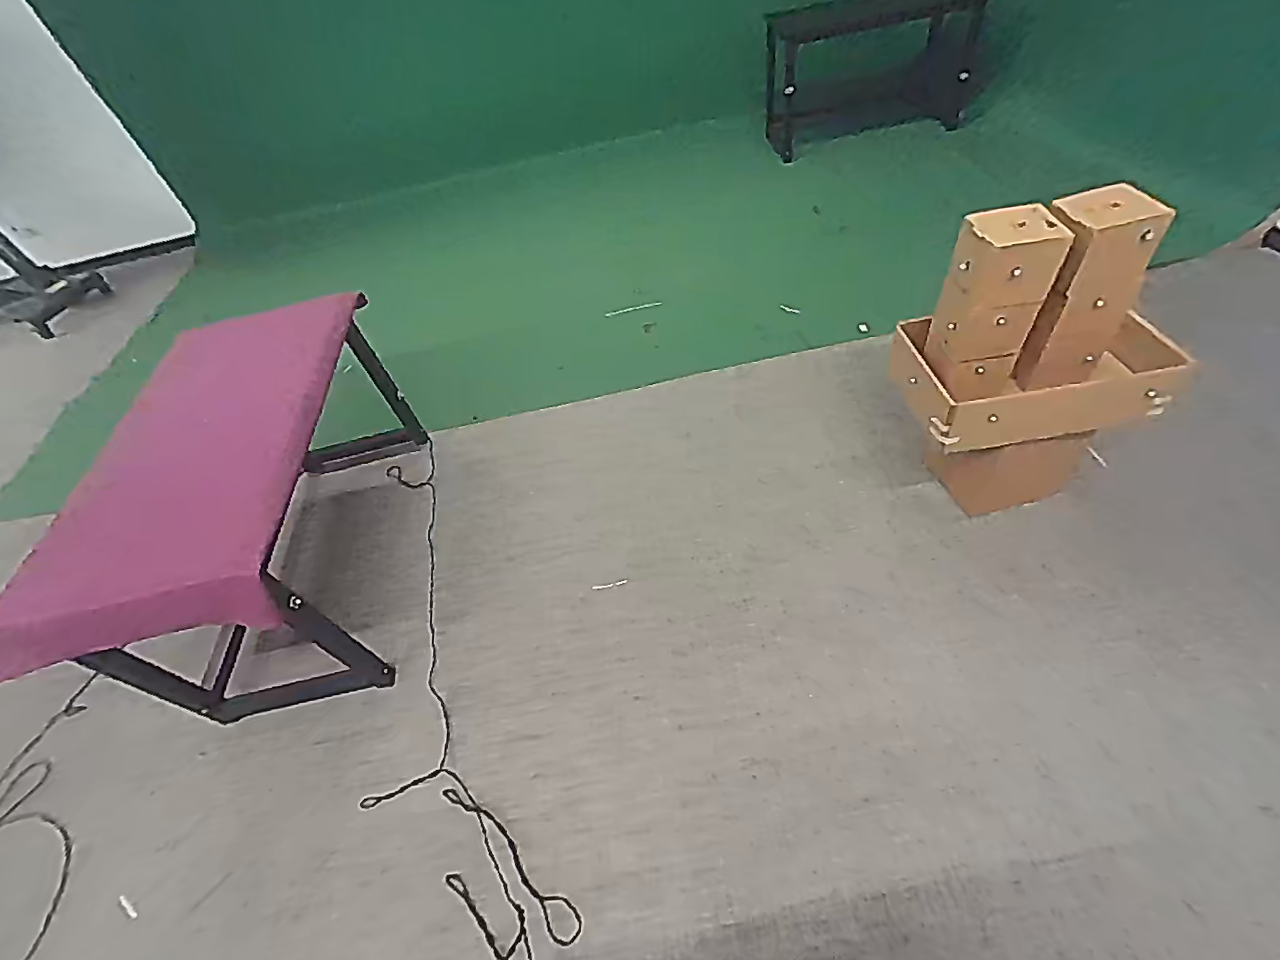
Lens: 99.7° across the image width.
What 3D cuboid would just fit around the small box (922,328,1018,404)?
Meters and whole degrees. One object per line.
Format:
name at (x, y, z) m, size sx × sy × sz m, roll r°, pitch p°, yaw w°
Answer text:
small box at (0.950, -0.342, 1.582) m, size 0.179 × 0.176 × 0.168 m, roll -8°, pitch 49°, yaw 3°

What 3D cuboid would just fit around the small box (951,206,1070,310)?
small box at (0.892, -0.539, 1.328) m, size 0.179 × 0.176 × 0.168 m, roll -7°, pitch 50°, yaw 7°

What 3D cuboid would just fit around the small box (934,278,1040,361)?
small box at (0.917, -0.438, 1.454) m, size 0.179 × 0.176 × 0.168 m, roll -7°, pitch 50°, yaw 5°

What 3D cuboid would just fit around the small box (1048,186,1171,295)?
small box at (1.109, -0.581, 1.322) m, size 0.179 × 0.176 × 0.168 m, roll -12°, pitch 49°, yaw 5°

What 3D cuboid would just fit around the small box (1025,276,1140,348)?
small box at (1.154, -0.481, 1.446) m, size 0.179 × 0.176 × 0.168 m, roll -11°, pitch 50°, yaw 6°
